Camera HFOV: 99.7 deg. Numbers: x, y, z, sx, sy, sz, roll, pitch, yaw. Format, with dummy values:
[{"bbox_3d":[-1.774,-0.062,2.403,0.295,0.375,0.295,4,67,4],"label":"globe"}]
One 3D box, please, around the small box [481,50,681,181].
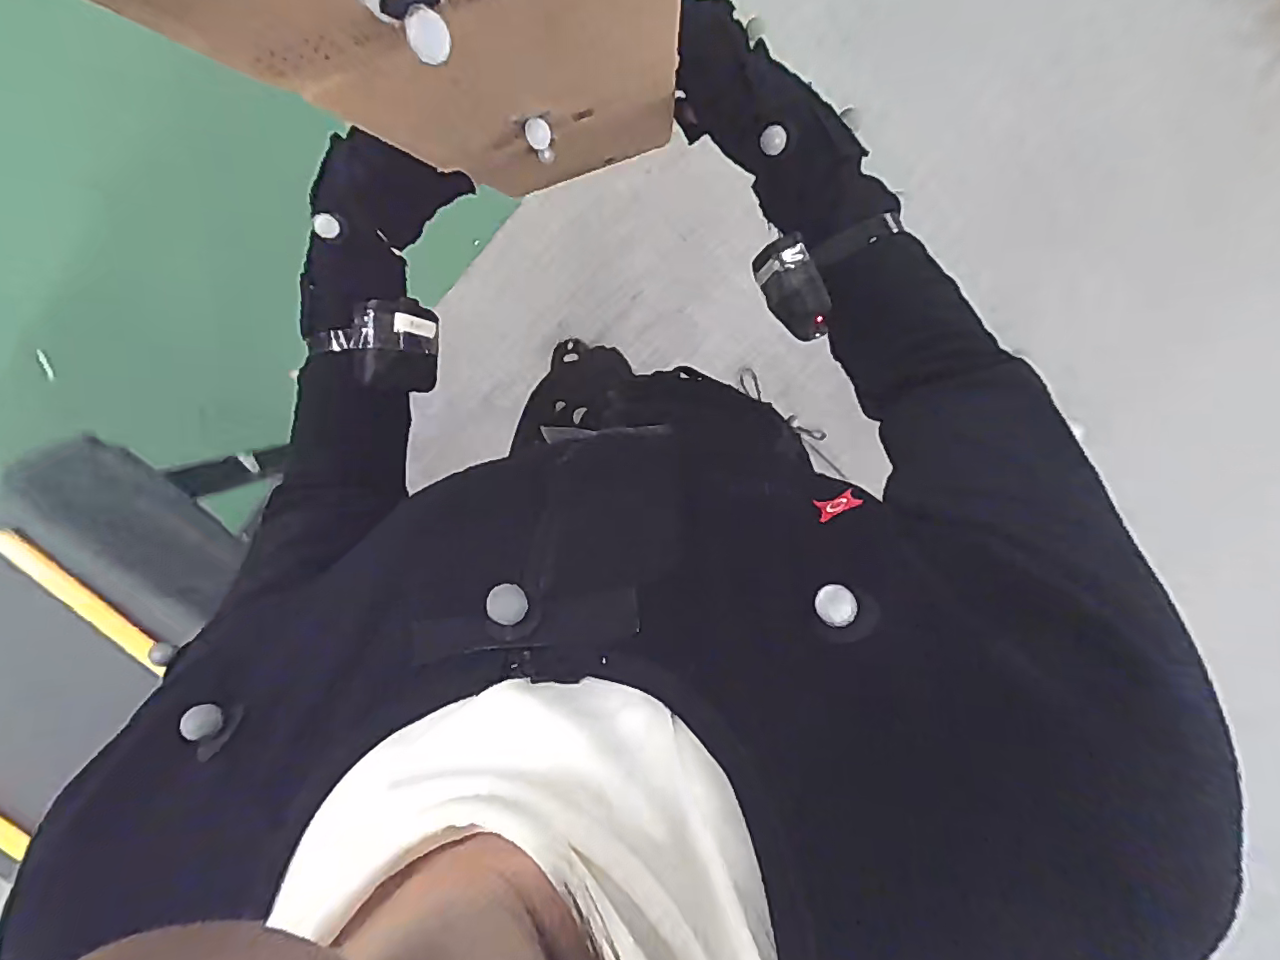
[{"bbox_3d":[-0.070,-0.357,0.411,0.168,0.176,0.179,-13,108,8],"label":"small box"}]
